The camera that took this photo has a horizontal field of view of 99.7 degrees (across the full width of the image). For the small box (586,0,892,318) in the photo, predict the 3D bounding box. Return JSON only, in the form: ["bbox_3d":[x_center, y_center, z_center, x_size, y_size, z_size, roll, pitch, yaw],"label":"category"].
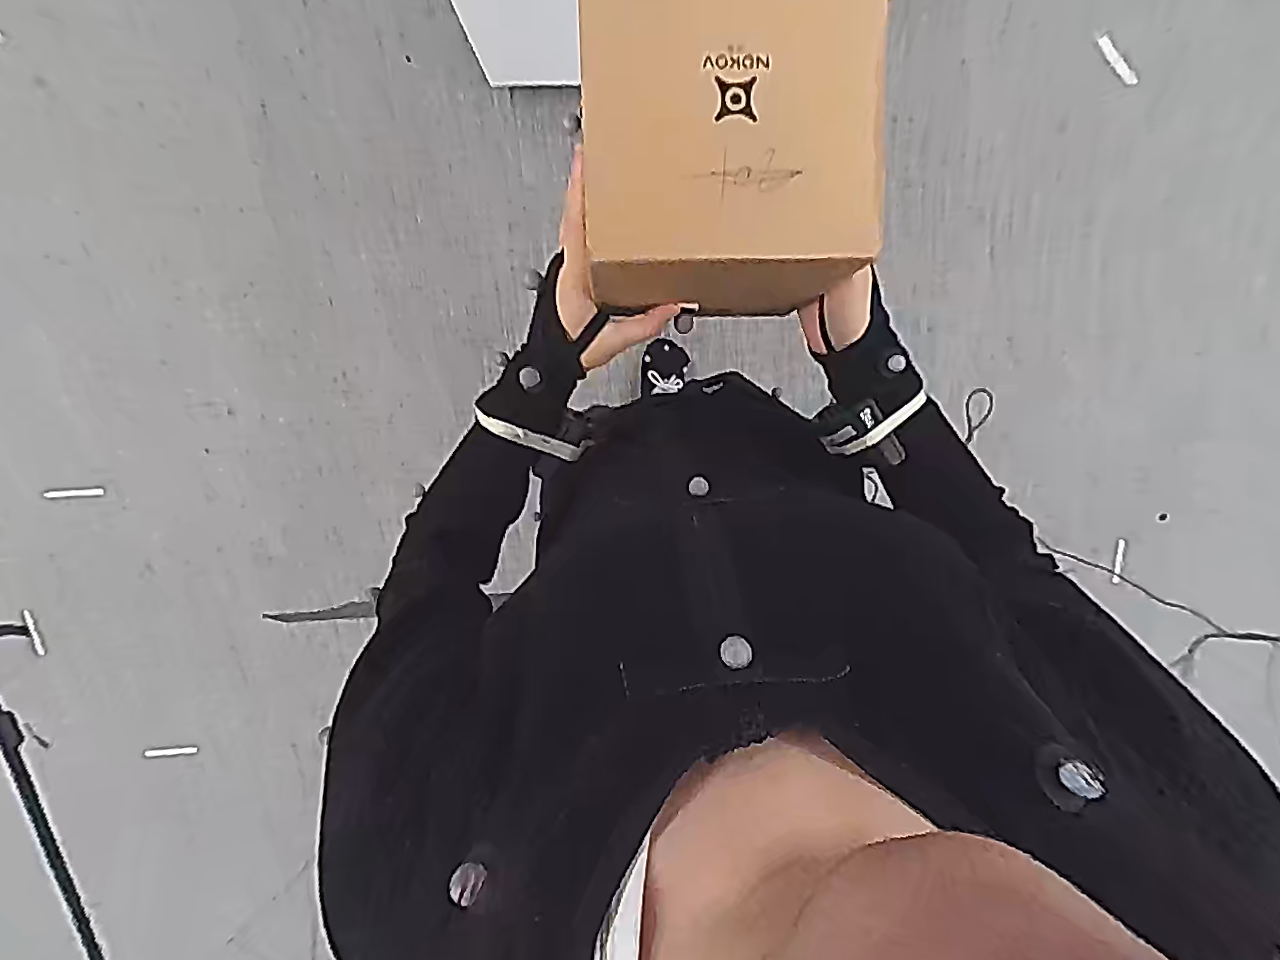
[{"bbox_3d":[0.049,-0.217,0.367,0.168,0.176,0.179,-2,96,-2],"label":"small box"}]
